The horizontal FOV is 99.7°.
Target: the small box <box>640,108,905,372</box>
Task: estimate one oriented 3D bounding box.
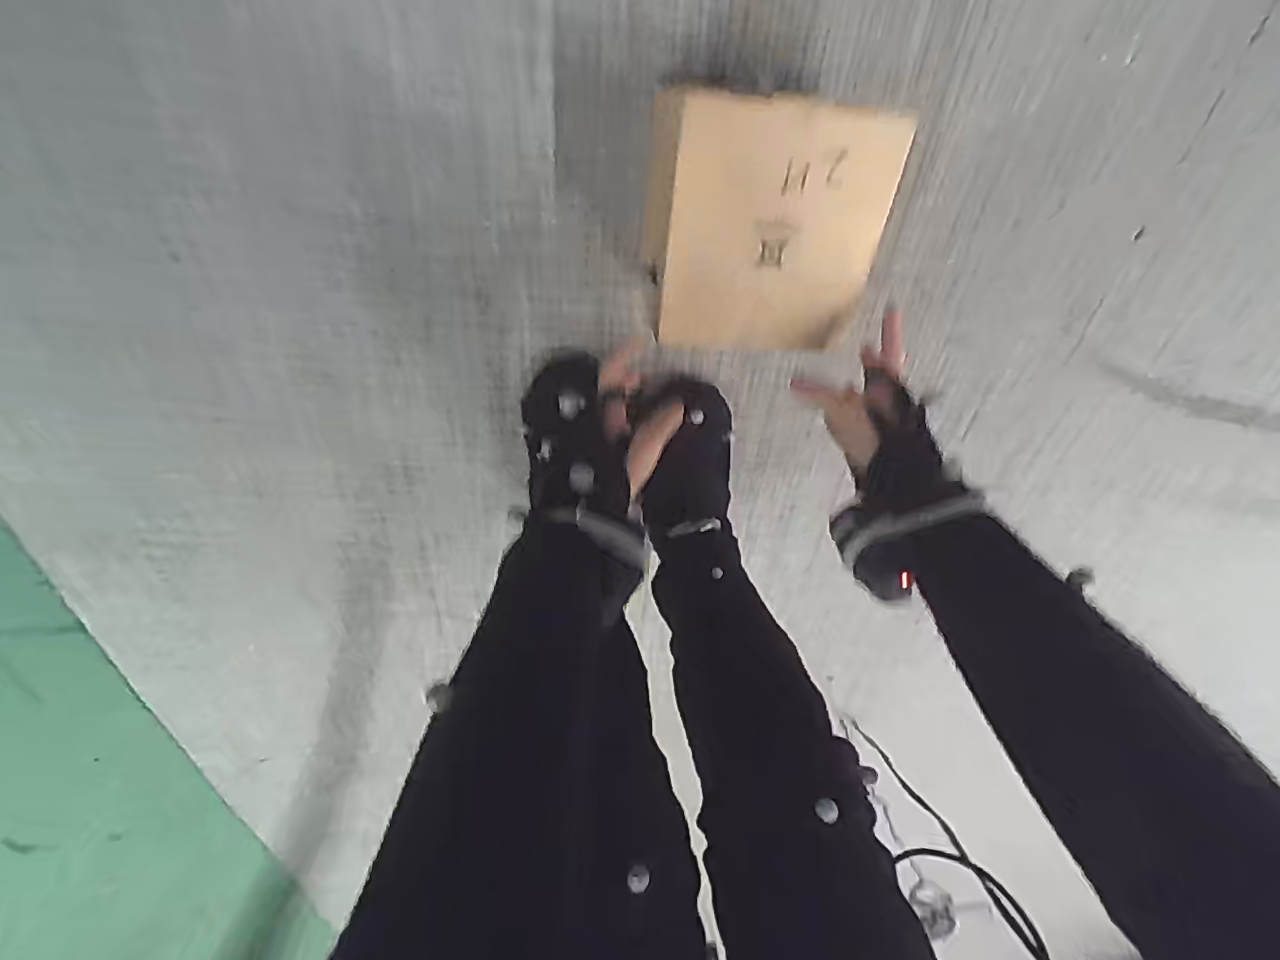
[{"bbox_3d":[0.093,-0.216,0.483,0.168,0.176,0.179,1,126,-7],"label":"small box"}]
